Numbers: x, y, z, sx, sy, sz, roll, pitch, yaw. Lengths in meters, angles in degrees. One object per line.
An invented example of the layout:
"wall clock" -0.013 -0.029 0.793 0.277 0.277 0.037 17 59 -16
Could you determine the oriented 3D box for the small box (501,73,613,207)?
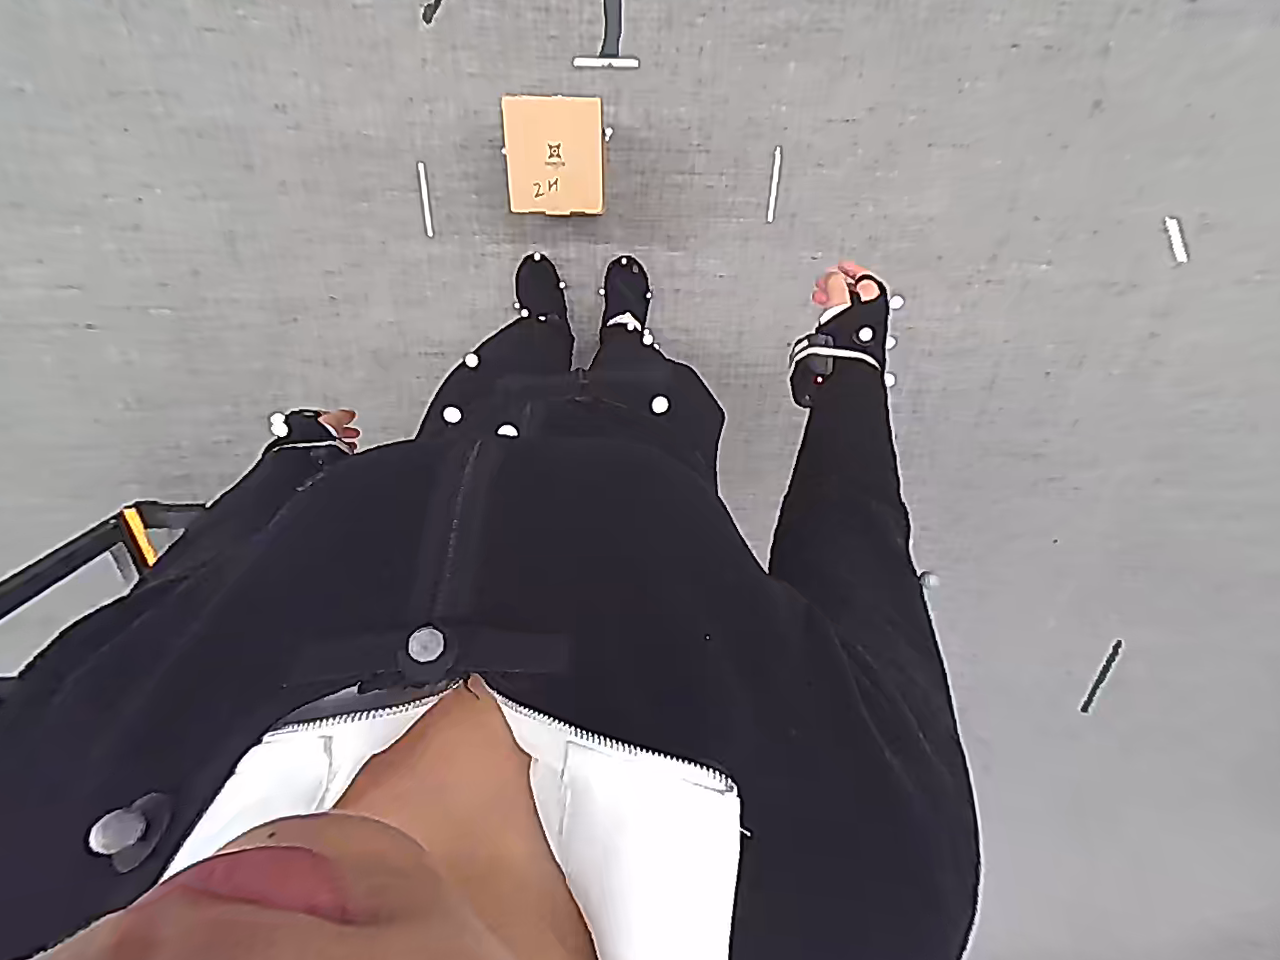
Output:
"small box" -0.131 -0.562 0.913 0.168 0.176 0.179 0 117 -1
